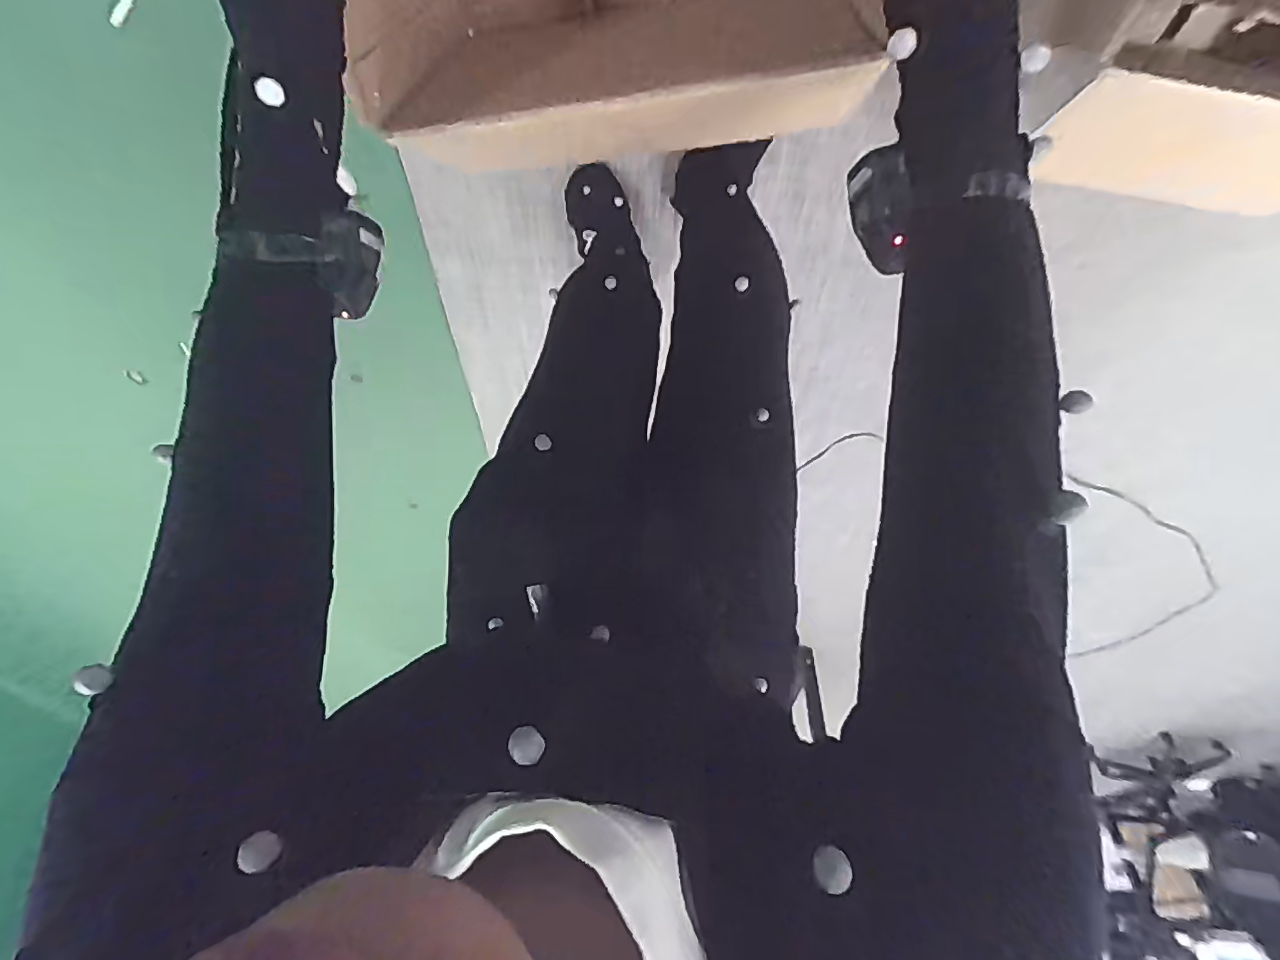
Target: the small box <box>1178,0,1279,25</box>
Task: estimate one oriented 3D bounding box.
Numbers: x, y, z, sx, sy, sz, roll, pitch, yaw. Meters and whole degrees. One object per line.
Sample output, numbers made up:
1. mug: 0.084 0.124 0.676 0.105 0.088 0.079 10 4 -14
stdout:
1. small box: 0.662 -0.525 0.494 0.179 0.176 0.168 9 137 -2
